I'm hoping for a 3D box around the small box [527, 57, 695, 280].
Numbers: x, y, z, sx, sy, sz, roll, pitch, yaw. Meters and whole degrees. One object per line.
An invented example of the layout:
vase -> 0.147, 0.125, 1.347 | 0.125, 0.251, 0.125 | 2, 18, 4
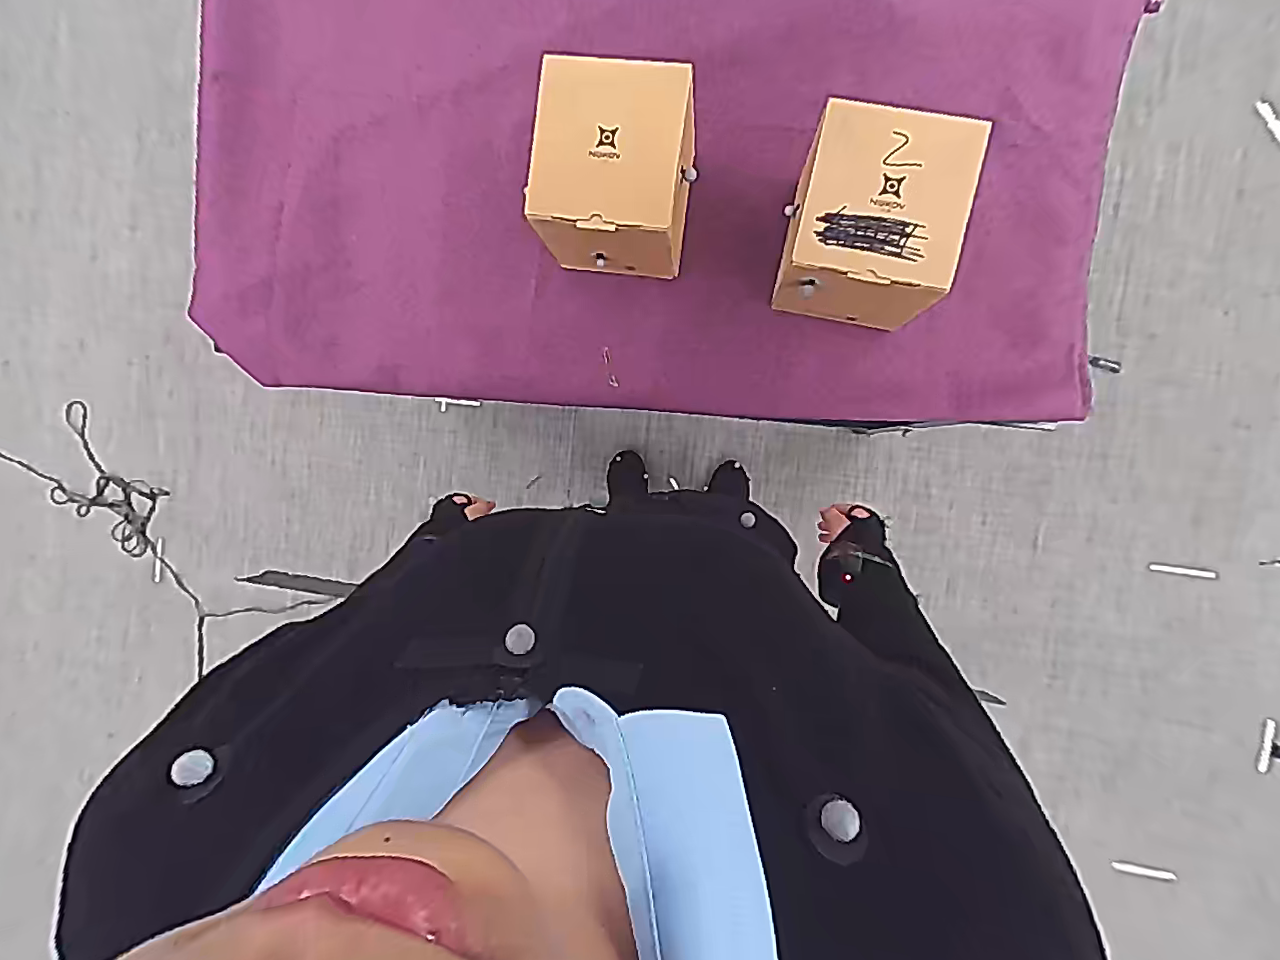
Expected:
small box -> -0.027, -0.368, 0.667 | 0.168, 0.176, 0.179 | 8, 94, 5
